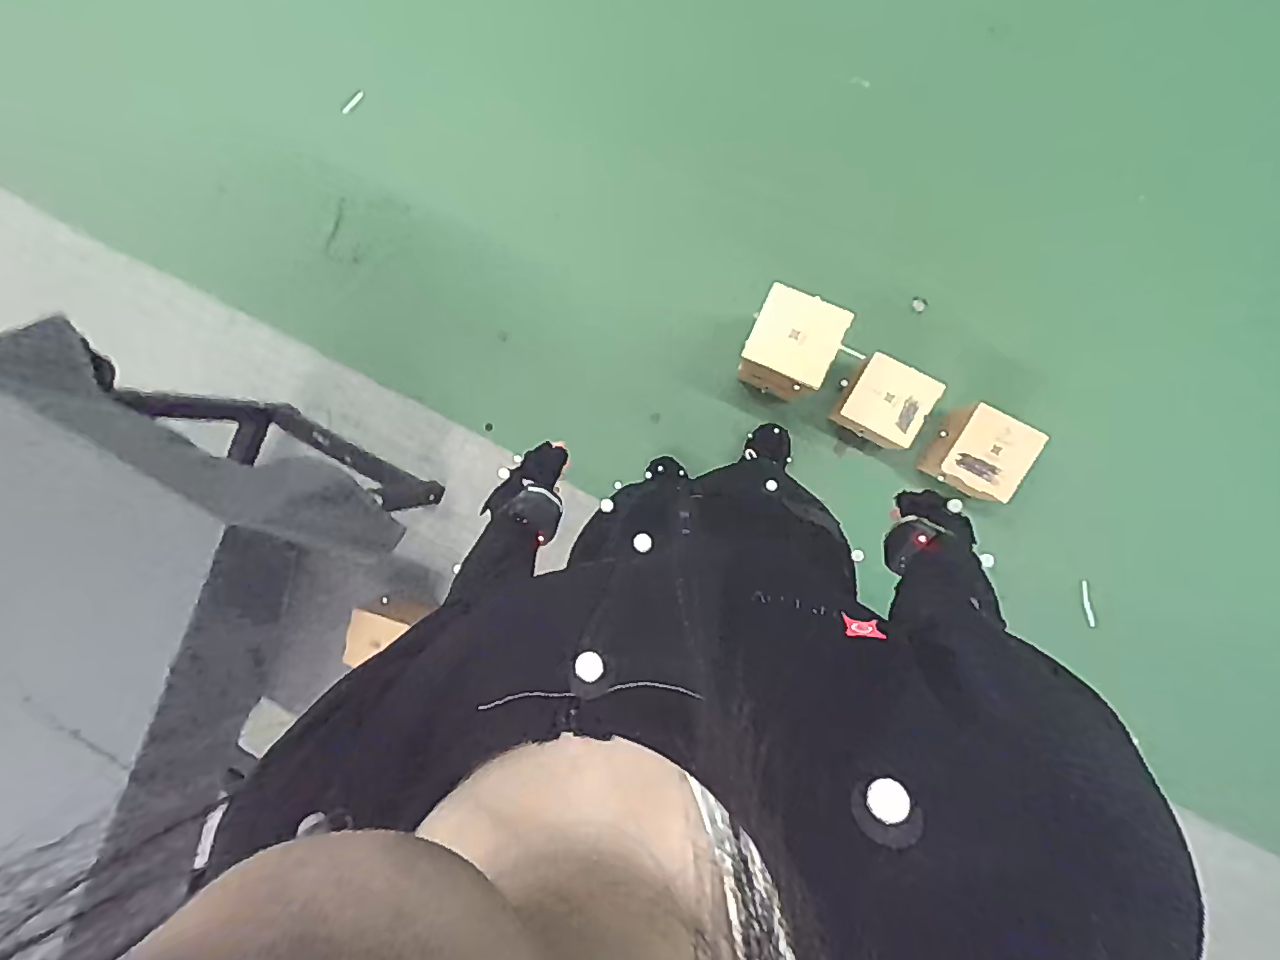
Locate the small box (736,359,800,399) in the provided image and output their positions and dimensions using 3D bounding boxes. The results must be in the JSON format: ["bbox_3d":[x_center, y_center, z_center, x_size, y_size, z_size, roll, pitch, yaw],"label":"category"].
[{"bbox_3d":[0.350,-0.311,1.342,0.168,0.176,0.179,26,99,6],"label":"small box"}]

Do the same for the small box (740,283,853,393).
[{"bbox_3d":[0.330,-0.298,1.180,0.179,0.176,0.168,25,97,6],"label":"small box"}]

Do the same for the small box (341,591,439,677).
[{"bbox_3d":[-0.711,0.432,1.552,0.179,0.176,0.168,16,97,7],"label":"small box"}]
